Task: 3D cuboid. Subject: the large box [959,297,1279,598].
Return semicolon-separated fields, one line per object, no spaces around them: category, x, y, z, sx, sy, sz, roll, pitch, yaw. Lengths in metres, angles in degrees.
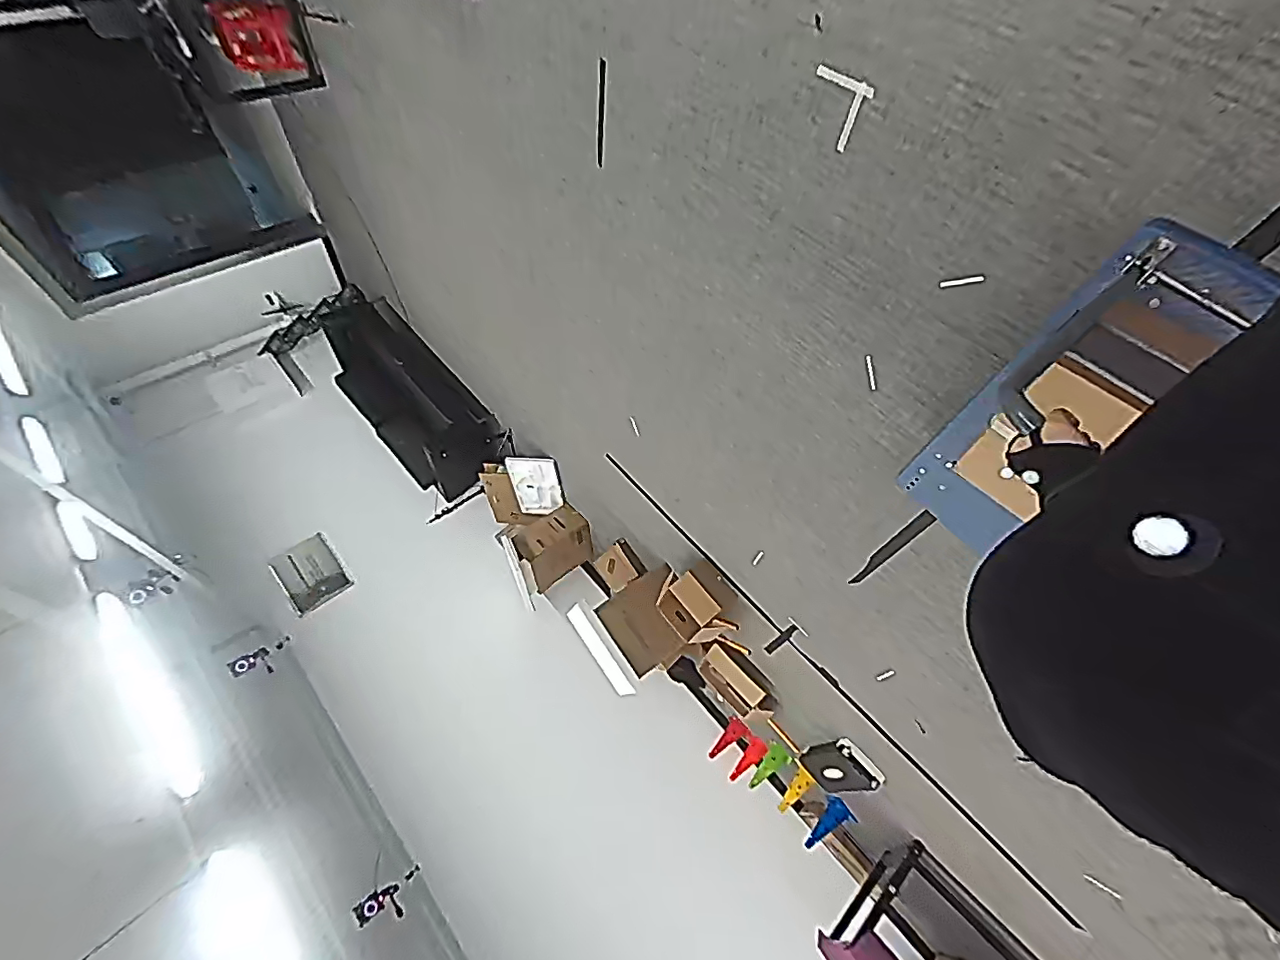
large box;0.929;-0.068;1.010;0.408;0.320;0.320;45;152;23
